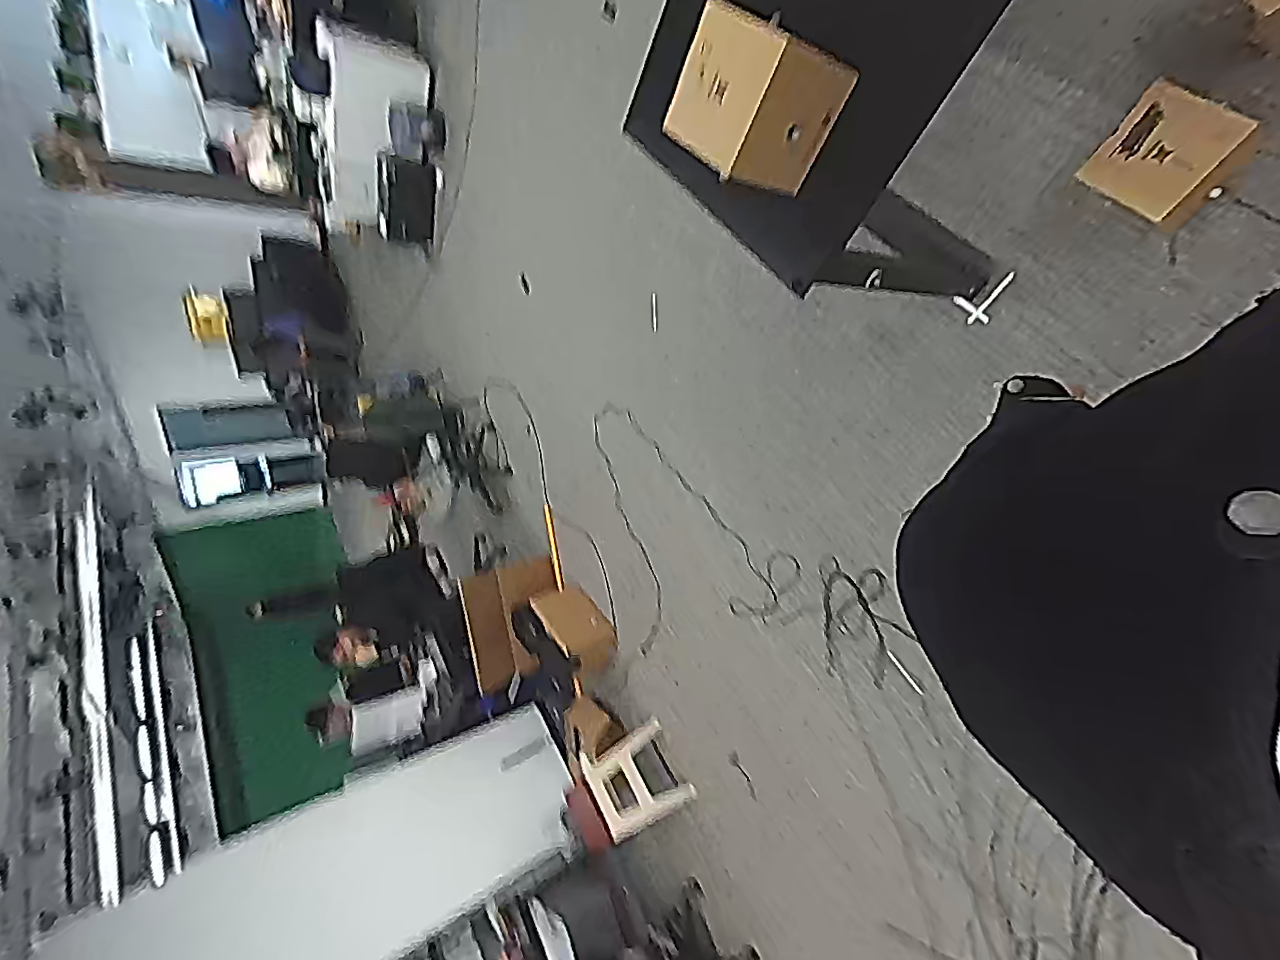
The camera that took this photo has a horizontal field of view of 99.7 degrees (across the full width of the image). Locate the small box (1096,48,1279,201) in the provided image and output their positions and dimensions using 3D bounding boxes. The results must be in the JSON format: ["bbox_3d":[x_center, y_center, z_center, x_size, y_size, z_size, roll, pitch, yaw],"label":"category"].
[{"bbox_3d":[0.980,-0.619,0.962,0.179,0.176,0.168,54,139,25],"label":"small box"}]

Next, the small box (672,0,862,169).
[{"bbox_3d":[0.185,-0.583,0.795,0.179,0.176,0.168,55,138,28],"label":"small box"}]
